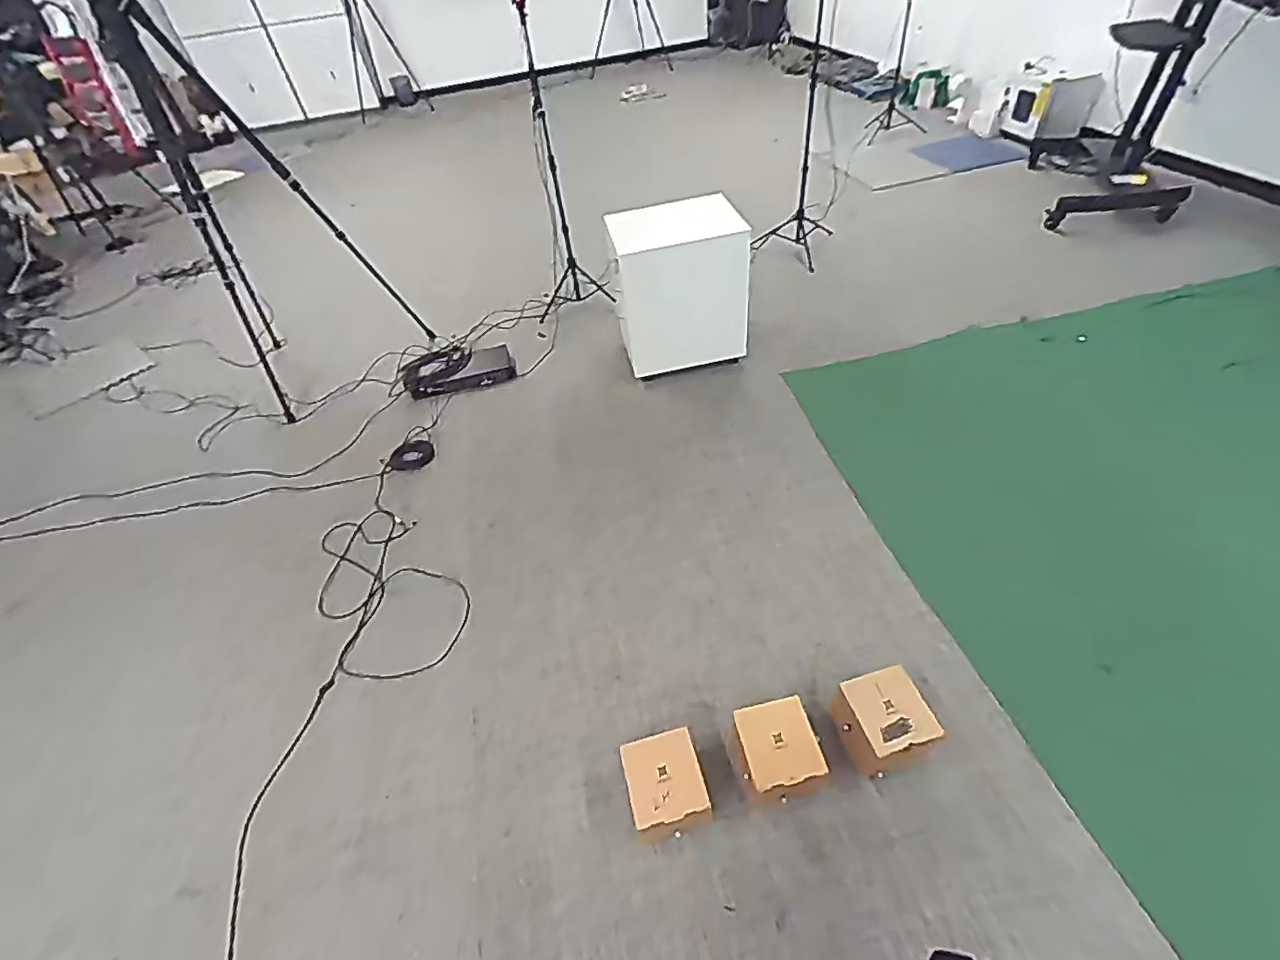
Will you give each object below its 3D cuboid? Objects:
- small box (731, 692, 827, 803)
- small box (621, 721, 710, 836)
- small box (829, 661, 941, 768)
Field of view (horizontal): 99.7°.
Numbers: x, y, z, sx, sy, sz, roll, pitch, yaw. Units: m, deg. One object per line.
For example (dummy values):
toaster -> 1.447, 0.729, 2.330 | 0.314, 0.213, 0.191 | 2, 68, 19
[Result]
small box -> 0.319, 0.634, 1.281 | 0.168, 0.176, 0.179 | -12, 48, -4
small box -> 0.059, 0.696, 1.257 | 0.168, 0.176, 0.179 | -15, 48, -4
small box -> 0.579, 0.570, 1.301 | 0.168, 0.176, 0.179 | -15, 47, -6
